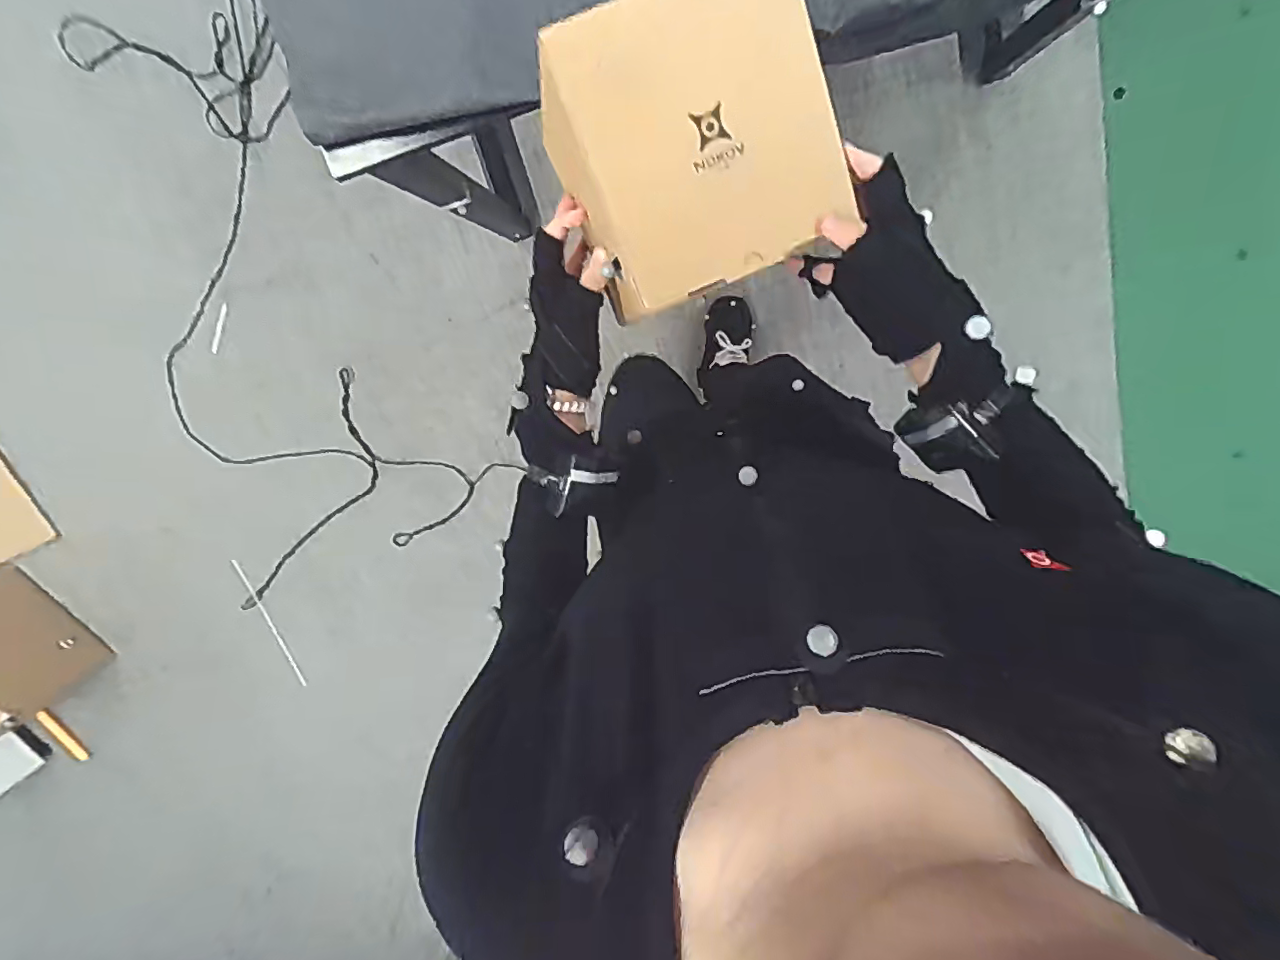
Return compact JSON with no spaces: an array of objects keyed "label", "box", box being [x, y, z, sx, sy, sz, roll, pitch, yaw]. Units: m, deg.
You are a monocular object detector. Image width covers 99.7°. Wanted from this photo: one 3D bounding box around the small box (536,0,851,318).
[{"label":"small box","box":[0.028,-0.242,0.425,0.168,0.176,0.179,-25,107,-3]}]
